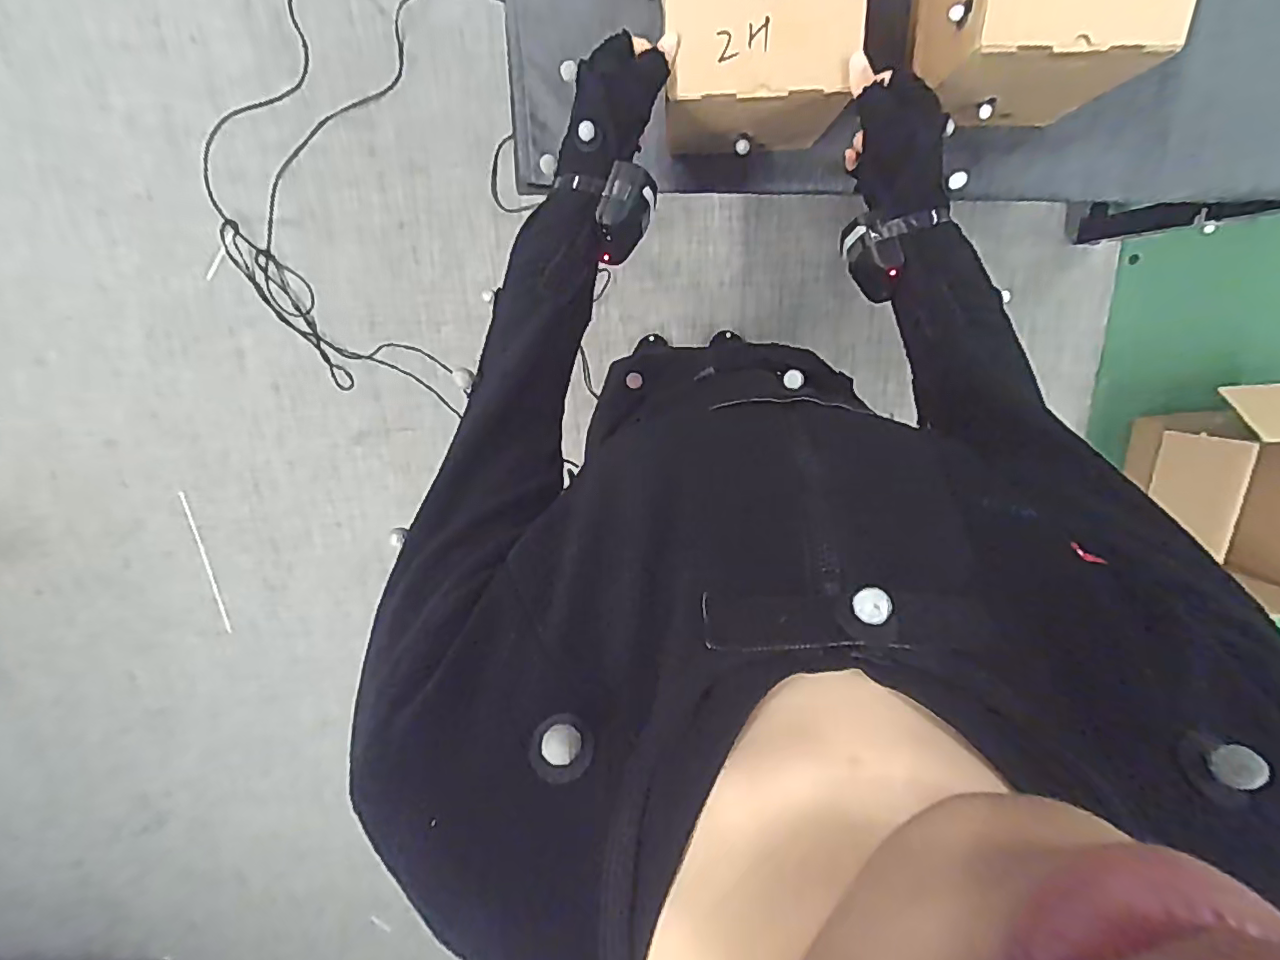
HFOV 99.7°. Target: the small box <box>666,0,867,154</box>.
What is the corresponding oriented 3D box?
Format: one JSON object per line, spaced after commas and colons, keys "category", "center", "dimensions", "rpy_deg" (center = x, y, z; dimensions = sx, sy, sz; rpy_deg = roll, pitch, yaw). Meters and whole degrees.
{"category": "small box", "center": [0.108, -0.437, 0.519], "dimensions": [0.168, 0.176, 0.179], "rpy_deg": [-1, 107, 3]}
